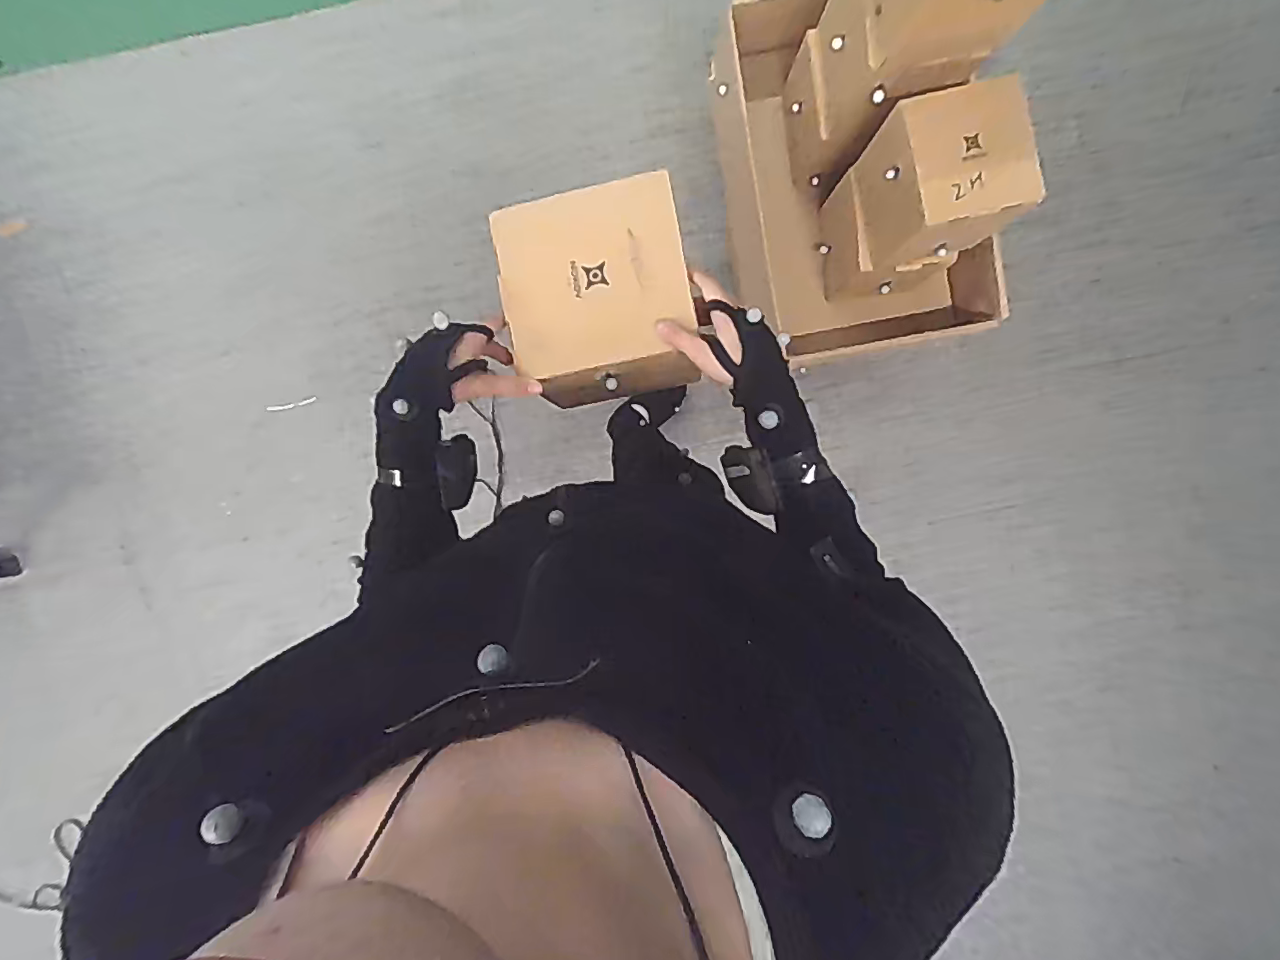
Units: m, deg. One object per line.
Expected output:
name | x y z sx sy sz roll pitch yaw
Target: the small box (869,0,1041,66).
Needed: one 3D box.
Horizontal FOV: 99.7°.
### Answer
small box | 0.386 -0.634 0.629 0.179 0.176 0.168 -12 94 1
